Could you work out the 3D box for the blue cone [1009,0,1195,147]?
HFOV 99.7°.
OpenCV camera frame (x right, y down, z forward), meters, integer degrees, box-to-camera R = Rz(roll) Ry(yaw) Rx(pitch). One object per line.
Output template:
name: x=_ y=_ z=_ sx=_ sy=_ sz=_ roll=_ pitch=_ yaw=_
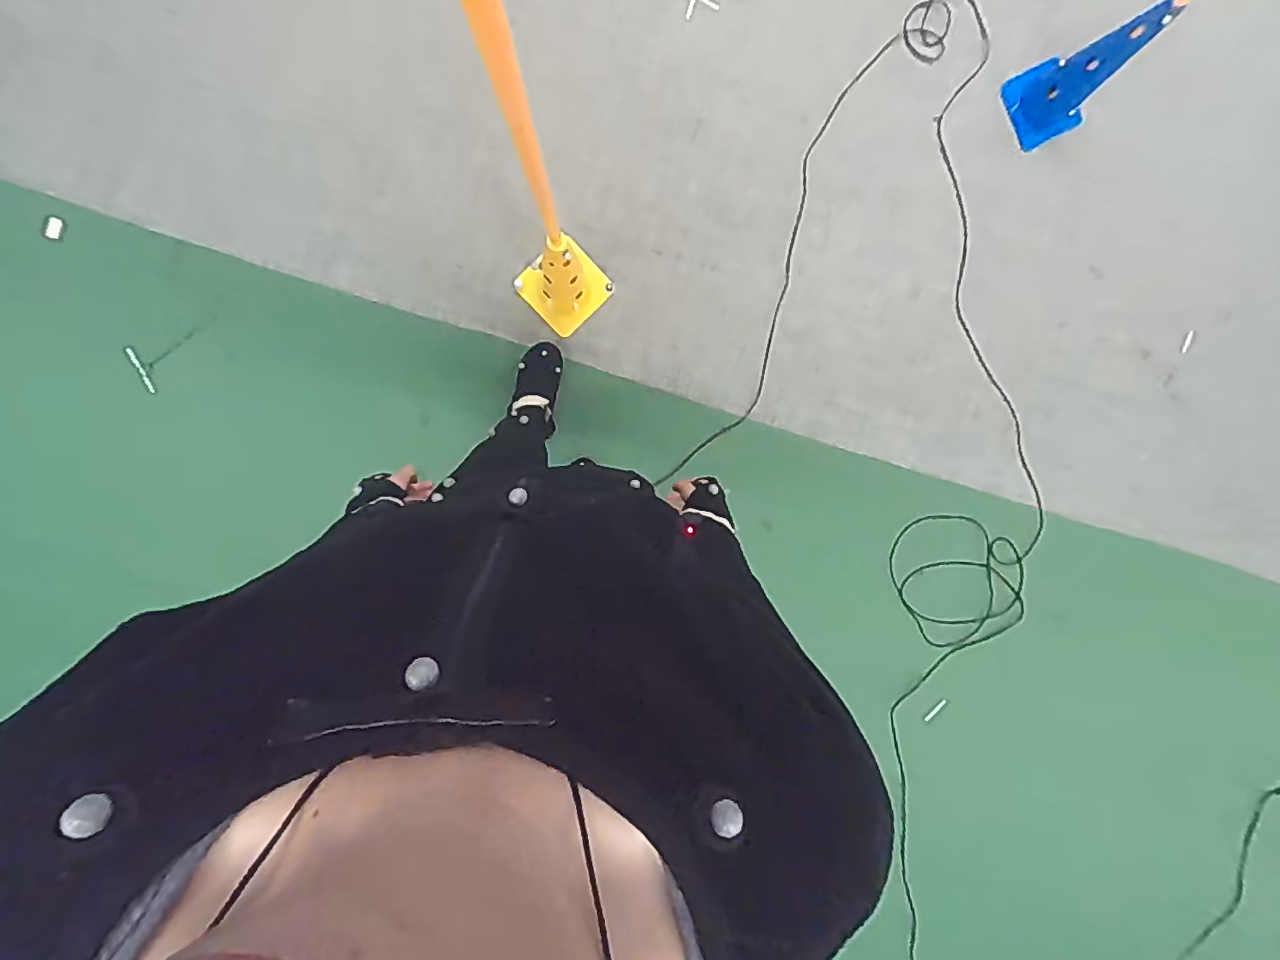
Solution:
blue cone: x=1.150 y=-1.042 z=1.343 sx=0.193 sy=0.380 sz=0.192 roll=-29 pitch=97 yaw=-5
